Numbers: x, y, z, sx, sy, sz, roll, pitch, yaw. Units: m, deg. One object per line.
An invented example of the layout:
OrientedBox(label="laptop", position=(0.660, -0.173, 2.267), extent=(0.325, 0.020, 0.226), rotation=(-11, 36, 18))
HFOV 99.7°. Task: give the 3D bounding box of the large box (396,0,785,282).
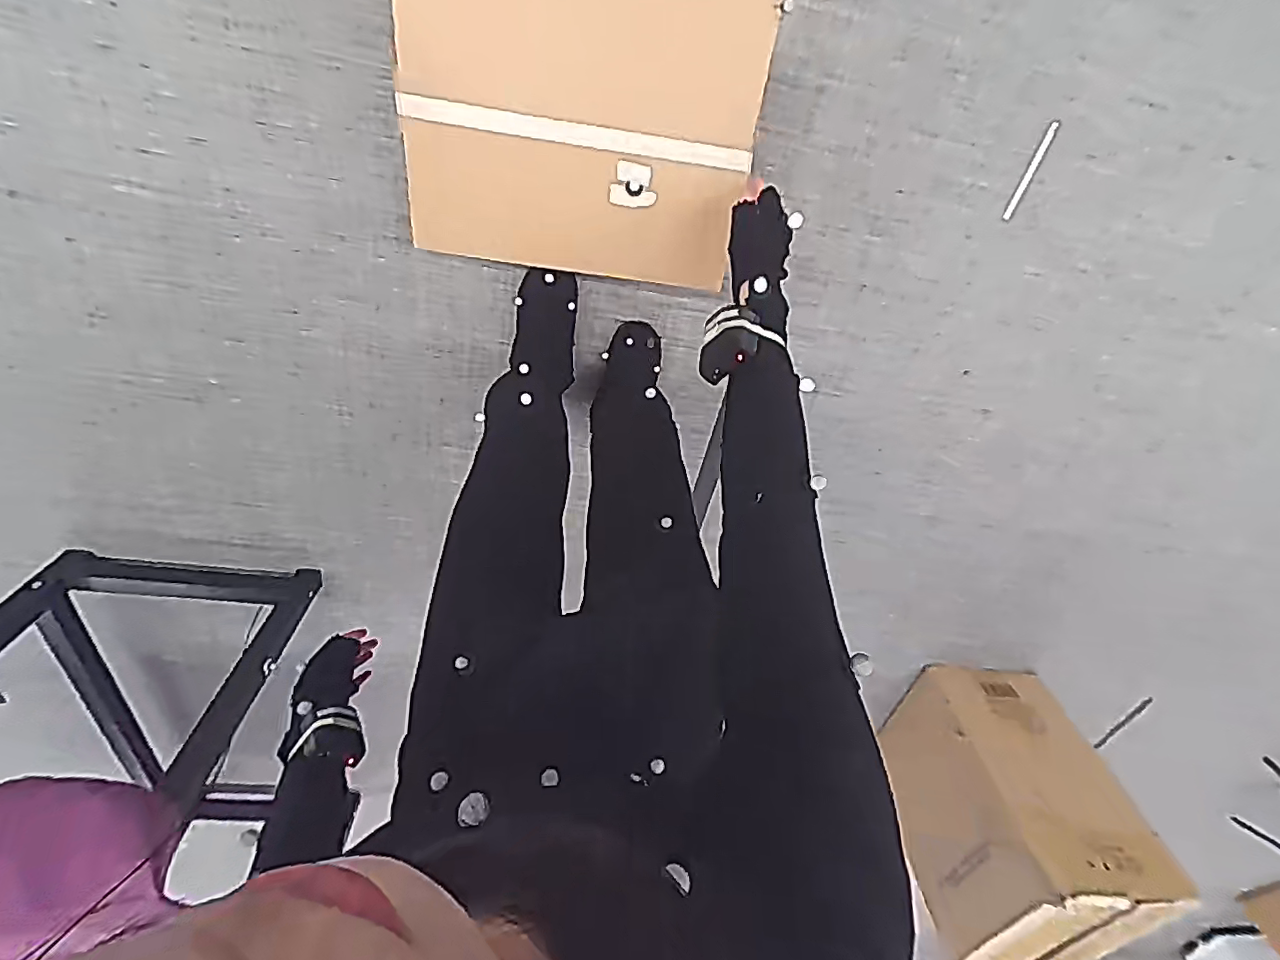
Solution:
OrientedBox(label="large box", position=(-0.073, -0.487, 0.740), extent=(0.408, 0.320, 0.320), rotation=(5, 125, -7))
